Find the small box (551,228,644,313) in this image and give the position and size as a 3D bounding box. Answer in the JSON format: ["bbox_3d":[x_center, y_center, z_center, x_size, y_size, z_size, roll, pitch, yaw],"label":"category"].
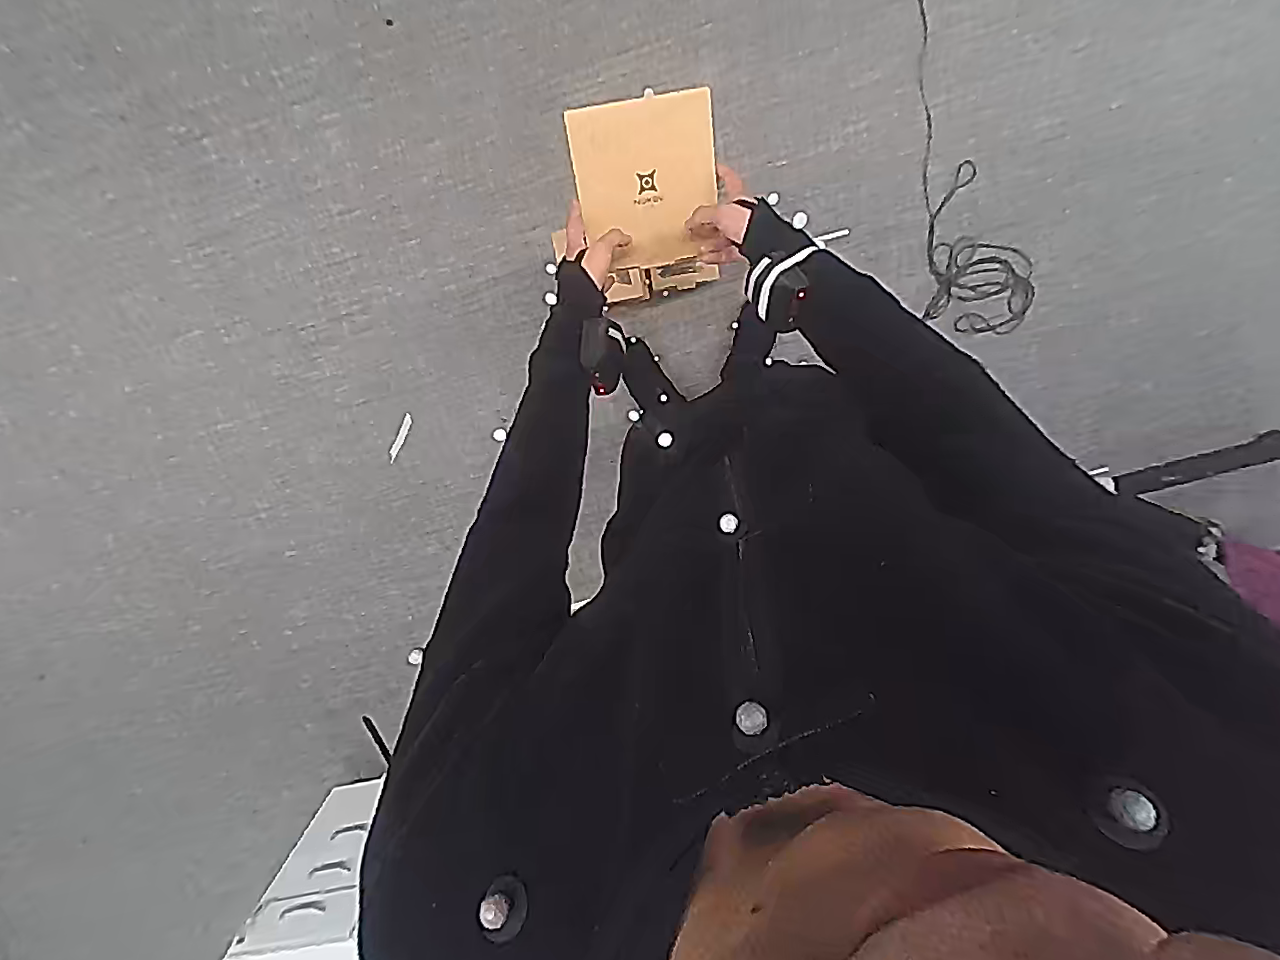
[{"bbox_3d":[-0.089,-0.484,1.236,0.179,0.176,0.168,-10,107,5],"label":"small box"}]

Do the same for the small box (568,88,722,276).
[{"bbox_3d":[0.003,-0.378,0.700,0.168,0.176,0.179,-10,120,0],"label":"small box"}]
